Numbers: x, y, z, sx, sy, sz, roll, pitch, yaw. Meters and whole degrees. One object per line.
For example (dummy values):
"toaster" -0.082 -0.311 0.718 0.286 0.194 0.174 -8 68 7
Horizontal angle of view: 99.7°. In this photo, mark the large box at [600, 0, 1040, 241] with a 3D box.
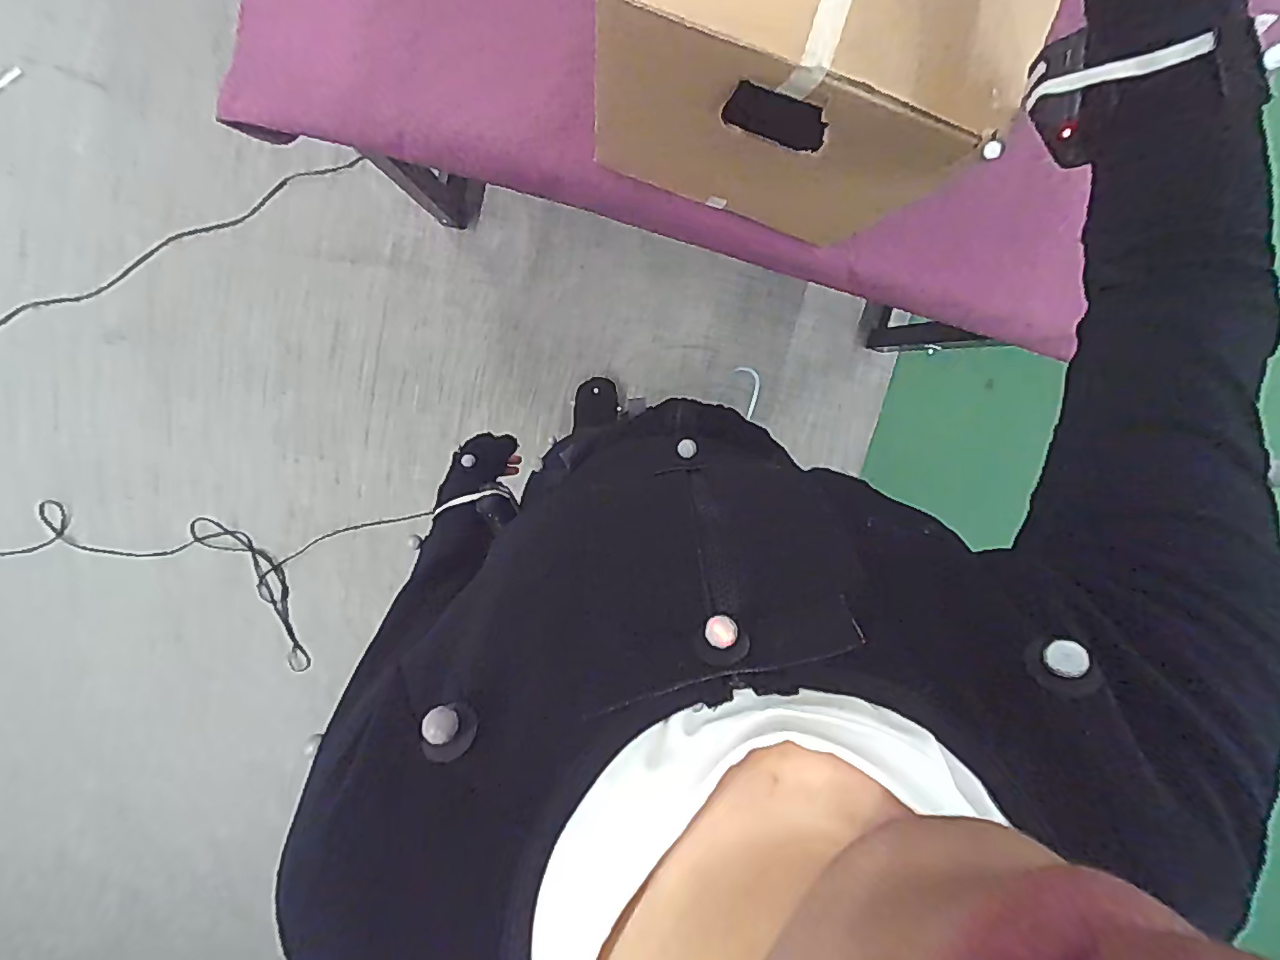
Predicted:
"large box" 0.162 -0.506 0.510 0.320 0.320 0.408 16 100 -7
